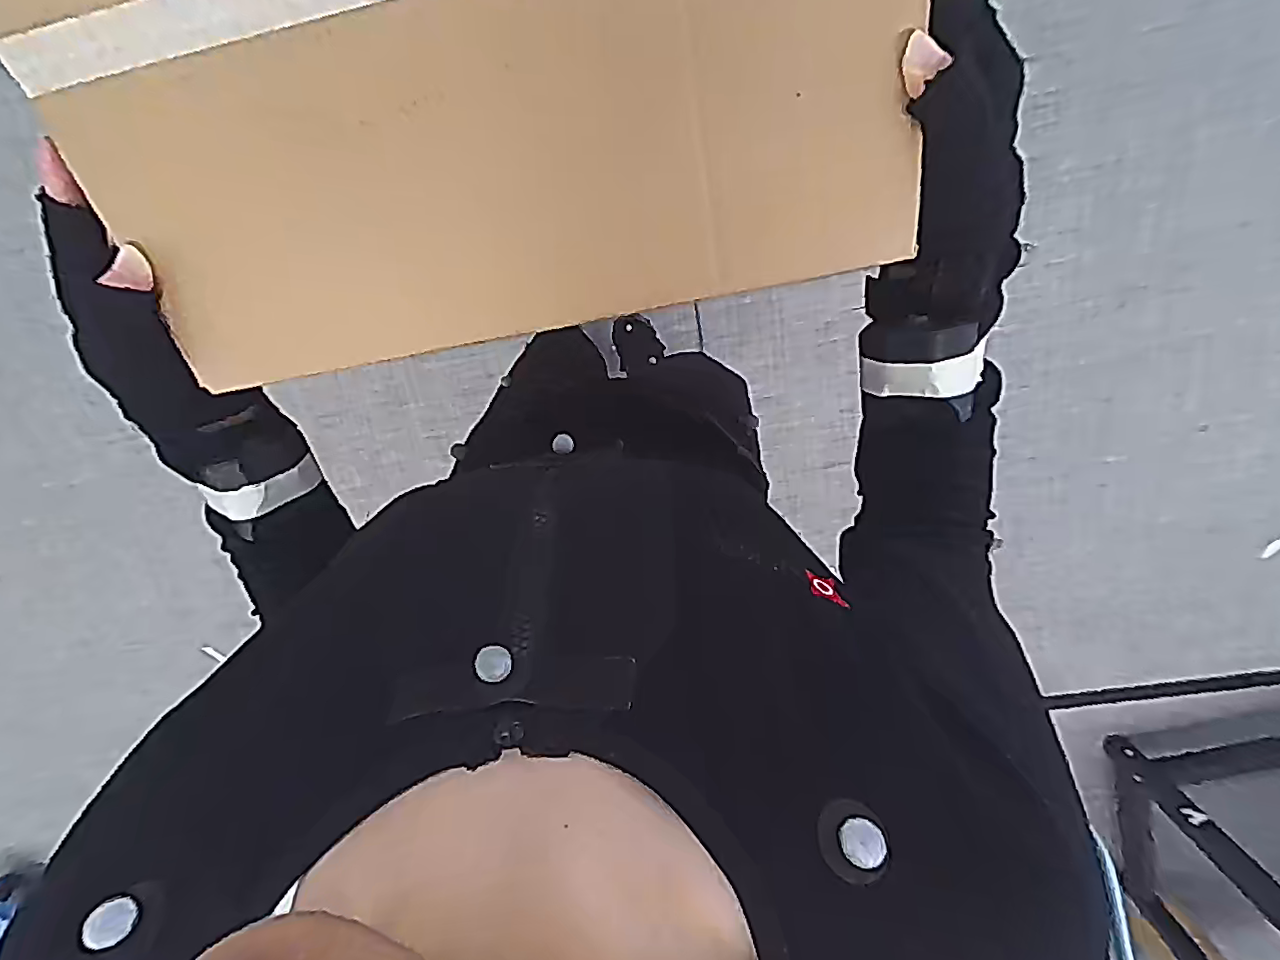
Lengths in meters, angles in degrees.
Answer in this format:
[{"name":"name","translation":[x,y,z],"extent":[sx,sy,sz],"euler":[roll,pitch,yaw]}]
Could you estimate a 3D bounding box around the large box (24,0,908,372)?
[{"name":"large box","translation":[-0.083,-0.299,0.370],"extent":[0.408,0.320,0.320],"euler":[-9,118,6]}]
